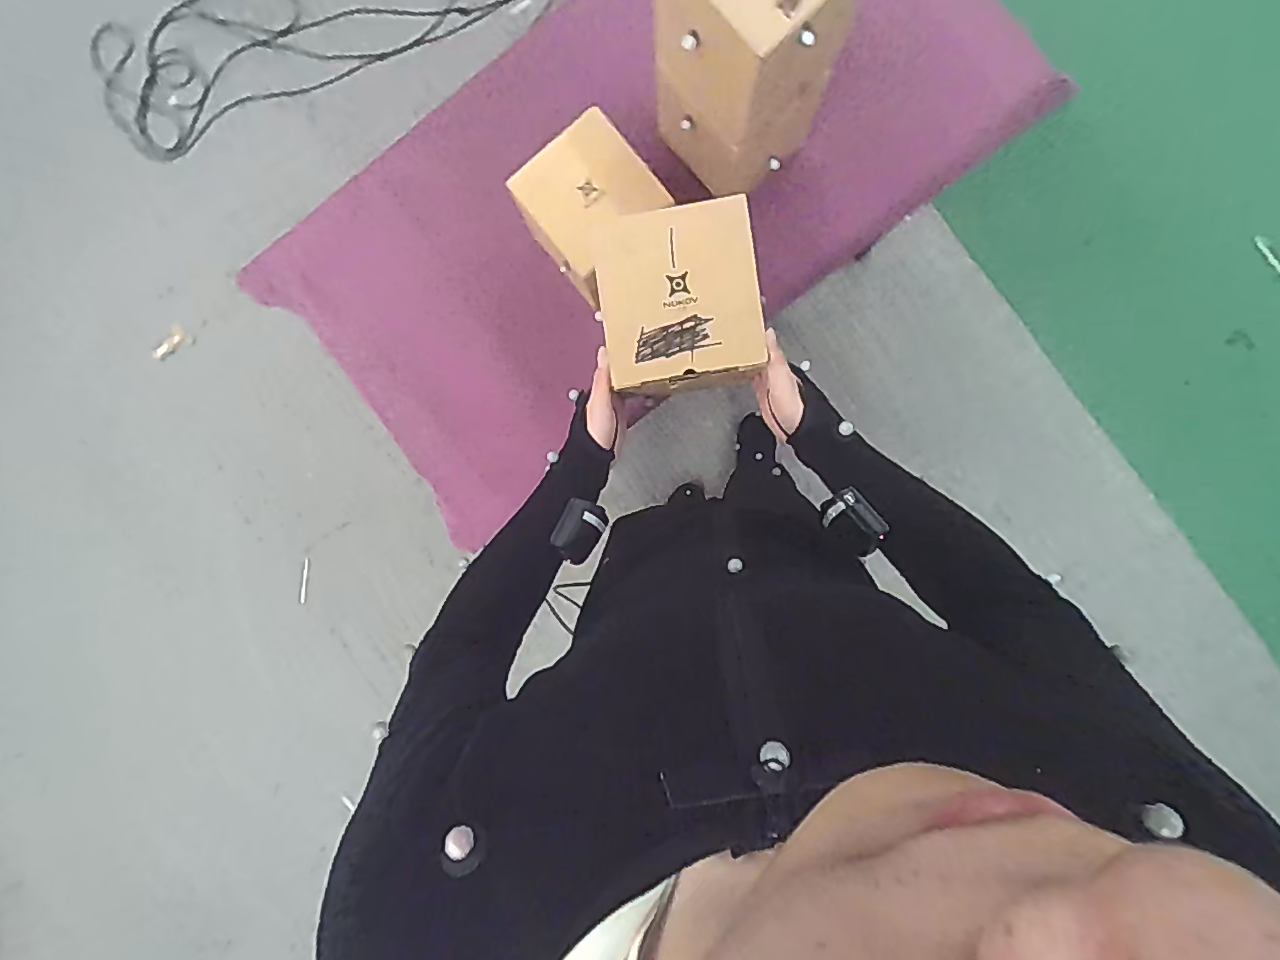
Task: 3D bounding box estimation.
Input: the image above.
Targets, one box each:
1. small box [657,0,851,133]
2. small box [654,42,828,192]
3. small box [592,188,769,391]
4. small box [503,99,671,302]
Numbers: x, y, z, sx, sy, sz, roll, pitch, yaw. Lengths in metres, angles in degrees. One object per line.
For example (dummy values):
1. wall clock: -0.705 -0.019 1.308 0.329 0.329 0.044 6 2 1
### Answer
1. small box: 0.129 -0.565 0.634 0.168 0.176 0.179 -42 88 3
2. small box: 0.137 -0.567 0.798 0.168 0.176 0.179 -41 89 3
3. small box: 0.047 -0.201 0.626 0.168 0.176 0.179 -7 92 4
4. small box: -0.071 -0.402 0.814 0.168 0.176 0.179 -40 90 3
